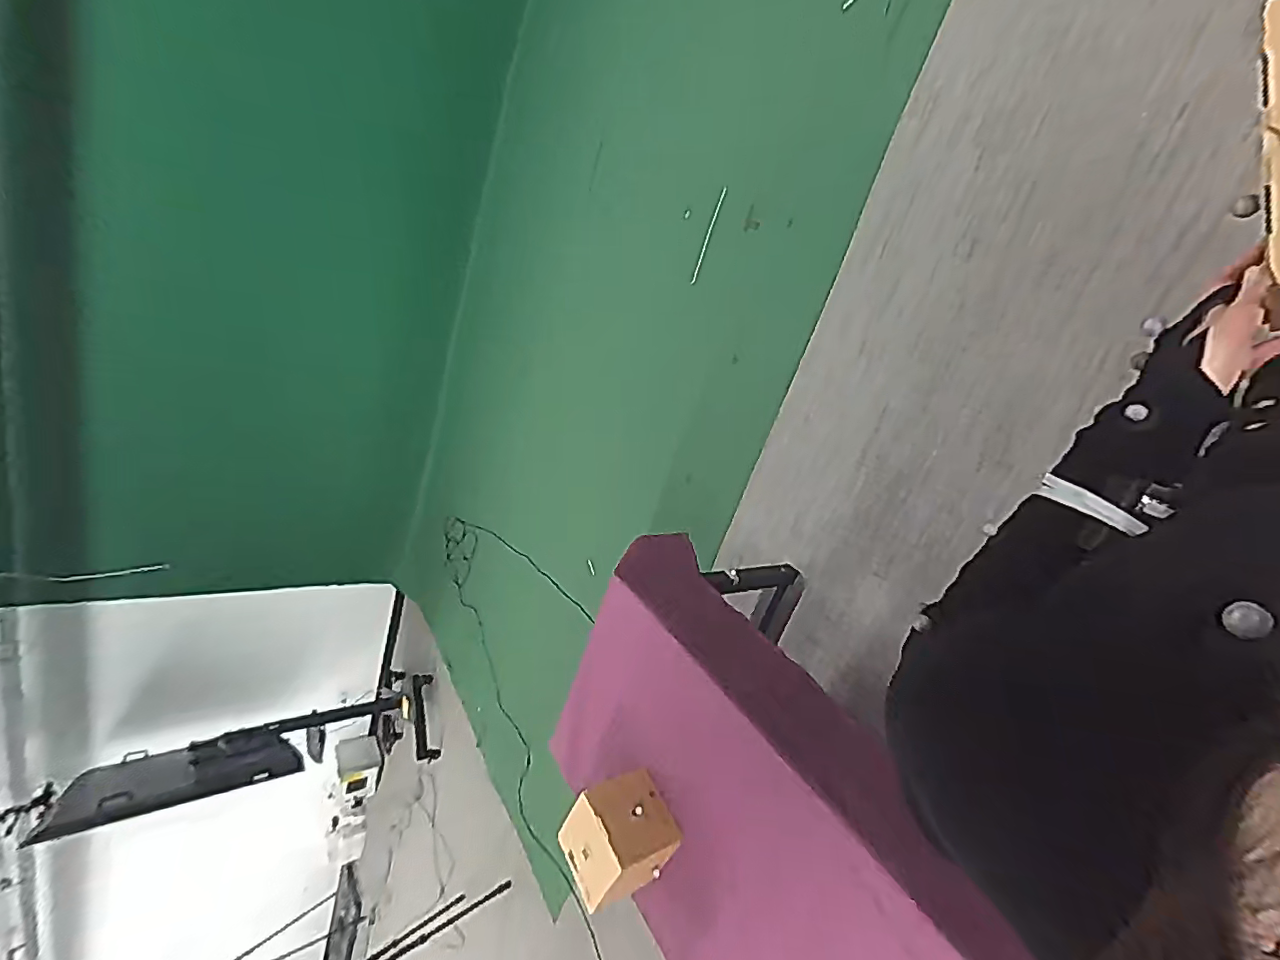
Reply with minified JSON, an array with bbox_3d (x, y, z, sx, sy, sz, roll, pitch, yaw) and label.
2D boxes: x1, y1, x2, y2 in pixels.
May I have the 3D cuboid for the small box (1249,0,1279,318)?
[{"bbox_3d":[0.478,-0.201,0.303,0.179,0.176,0.168,0,91,51],"label":"small box"}]

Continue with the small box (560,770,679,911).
[{"bbox_3d":[-0.041,0.762,1.161,0.168,0.176,0.179,49,122,42],"label":"small box"}]
